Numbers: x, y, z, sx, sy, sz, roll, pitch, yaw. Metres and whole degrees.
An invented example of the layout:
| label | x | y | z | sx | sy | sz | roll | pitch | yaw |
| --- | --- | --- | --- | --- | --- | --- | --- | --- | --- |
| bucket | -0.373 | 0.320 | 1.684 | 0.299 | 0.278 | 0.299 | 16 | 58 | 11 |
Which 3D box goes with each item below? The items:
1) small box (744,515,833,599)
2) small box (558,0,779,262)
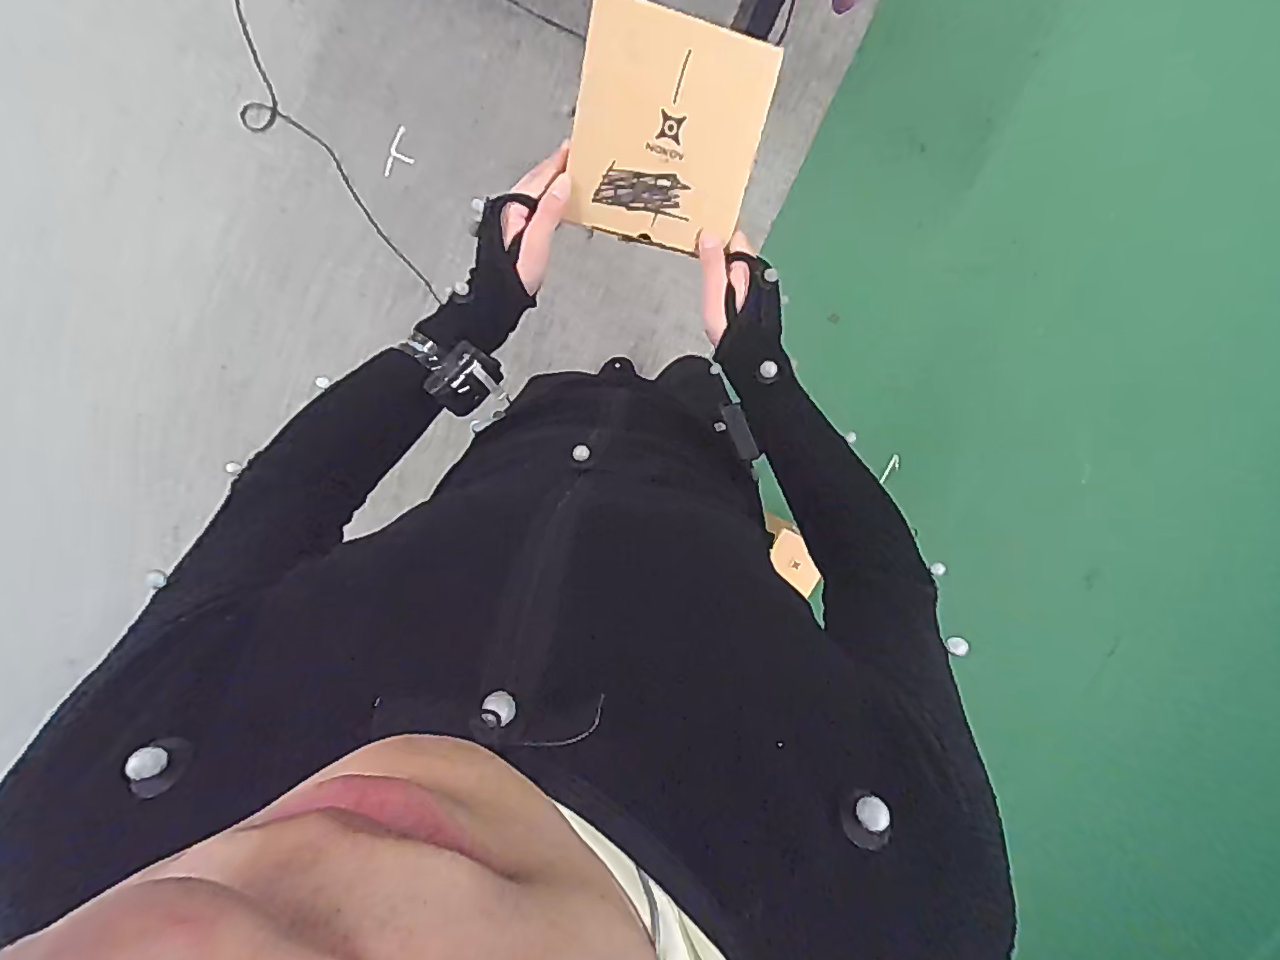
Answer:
| label | x | y | z | sx | sy | sz | roll | pitch | yaw |
| --- | --- | --- | --- | --- | --- | --- | --- | --- | --- |
| small box | 0.439 | 0.225 | 1.627 | 0.179 | 0.176 | 0.168 | 25 | 101 | -8 |
| small box | 0.014 | -0.335 | 0.546 | 0.168 | 0.176 | 0.179 | 8 | 114 | -11 |
